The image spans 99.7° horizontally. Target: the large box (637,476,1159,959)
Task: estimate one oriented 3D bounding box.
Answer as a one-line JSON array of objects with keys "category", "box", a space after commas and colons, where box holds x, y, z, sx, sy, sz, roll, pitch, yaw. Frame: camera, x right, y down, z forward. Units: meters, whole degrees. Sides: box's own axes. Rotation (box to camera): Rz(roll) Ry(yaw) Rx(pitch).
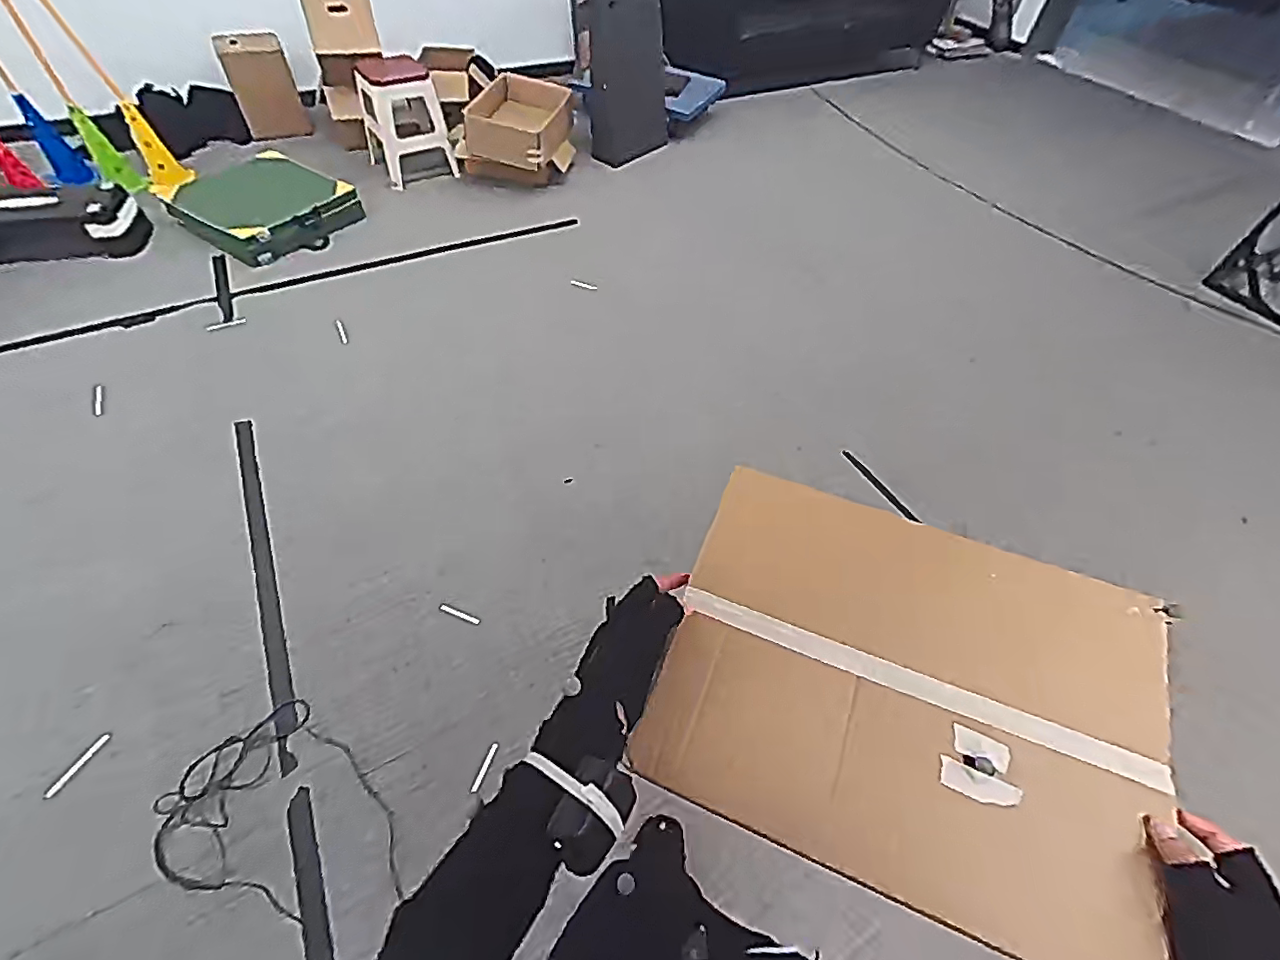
[{"category": "large box", "box": [0.241, 0.250, 0.614, 0.408, 0.320, 0.320, 19, 65, 14]}]
